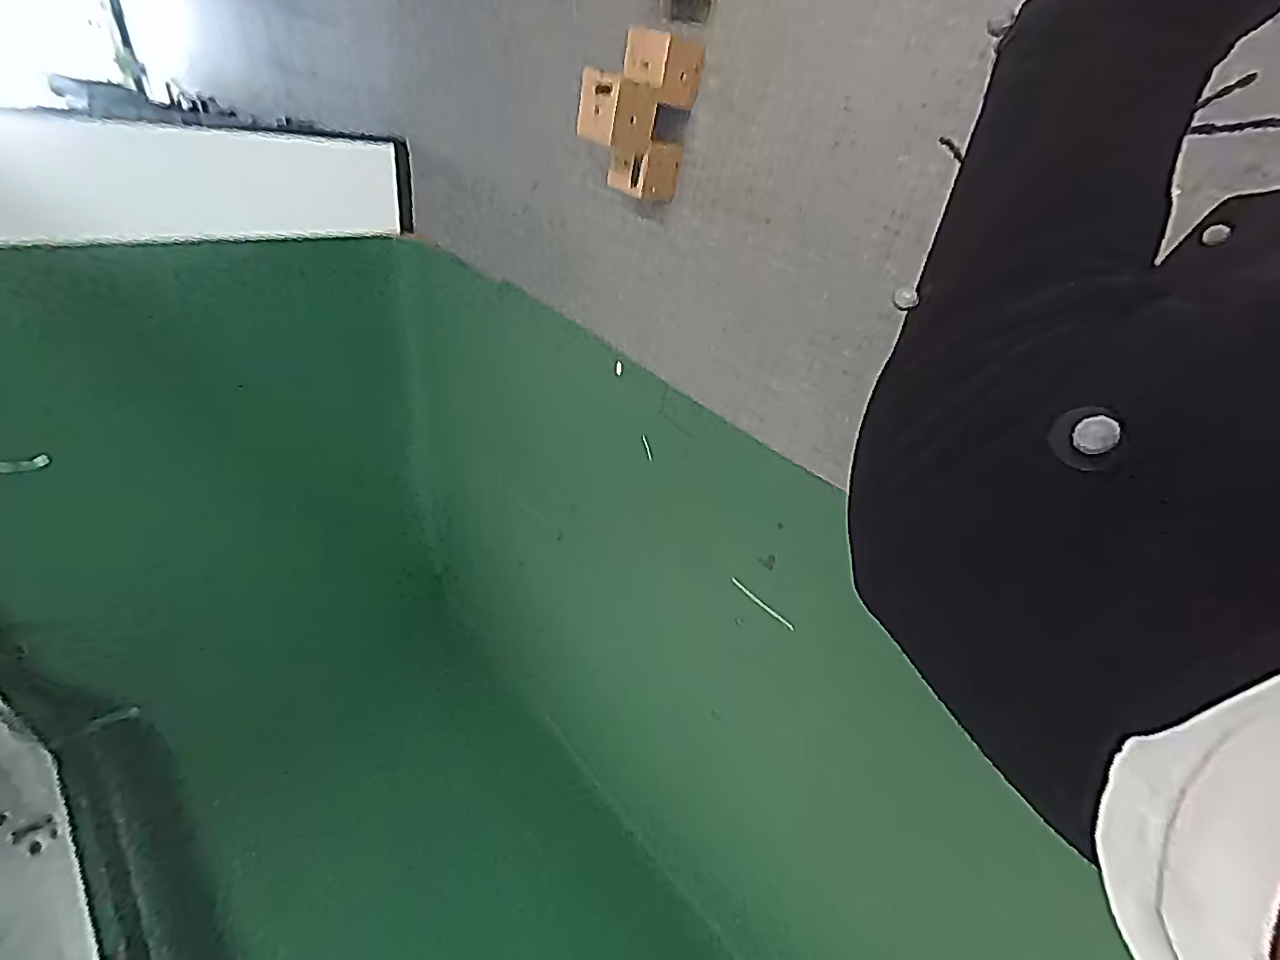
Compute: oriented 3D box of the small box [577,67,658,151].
[{"bbox_3d":[-0.066,-1.131,1.657,0.168,0.176,0.179,39,134,28],"label":"small box"}]
